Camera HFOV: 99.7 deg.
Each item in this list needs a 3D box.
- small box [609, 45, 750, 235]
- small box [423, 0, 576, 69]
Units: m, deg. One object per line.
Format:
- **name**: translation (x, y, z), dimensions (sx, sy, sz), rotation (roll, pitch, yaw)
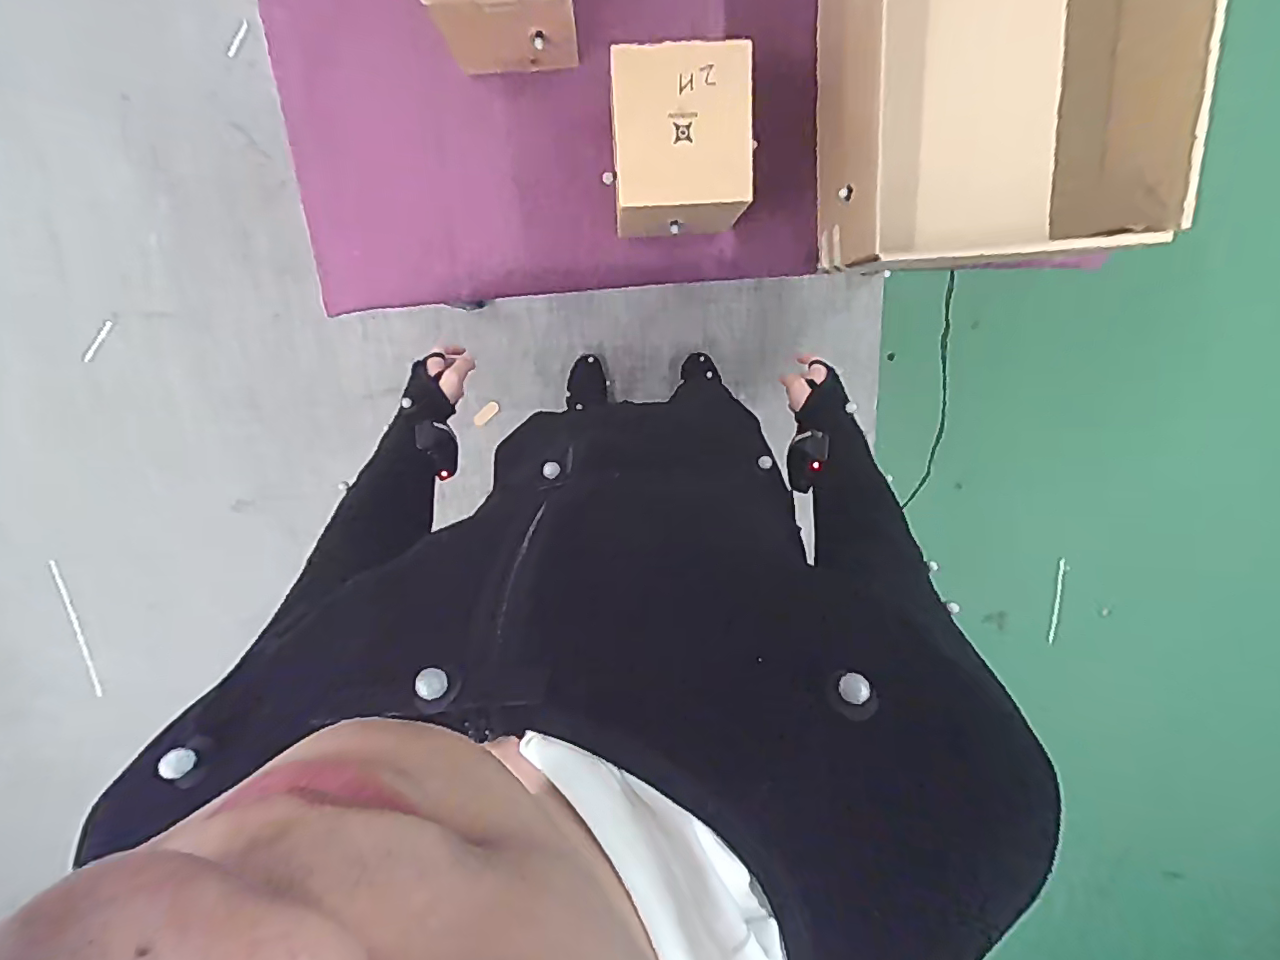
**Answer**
- **small box**: translation (0.045, -0.434, 0.720), dimensions (0.168, 0.176, 0.179), rotation (-3, 103, -3)
- **small box**: translation (-0.171, -0.638, 0.664), dimensions (0.168, 0.176, 0.179), rotation (-5, 104, -3)
